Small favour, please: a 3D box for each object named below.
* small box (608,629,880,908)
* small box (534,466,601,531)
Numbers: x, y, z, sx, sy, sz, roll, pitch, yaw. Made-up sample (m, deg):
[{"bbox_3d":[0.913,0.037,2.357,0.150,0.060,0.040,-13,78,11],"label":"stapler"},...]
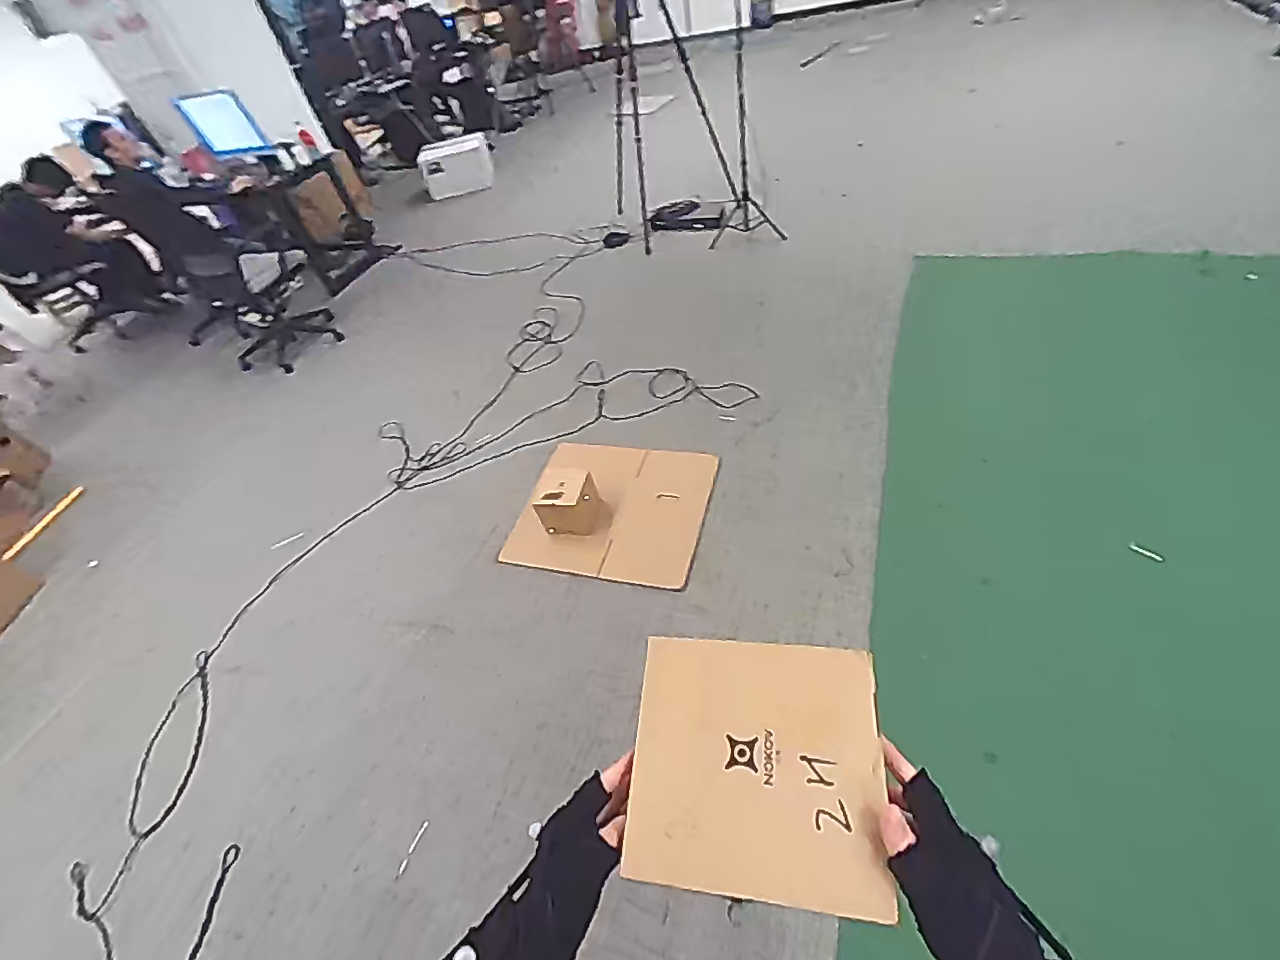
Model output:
[{"bbox_3d":[0.087,0.237,0.452,0.179,0.176,0.168,0,56,13],"label":"small box"},{"bbox_3d":[-0.253,0.067,1.942,0.168,0.176,0.179,2,48,17],"label":"small box"}]
